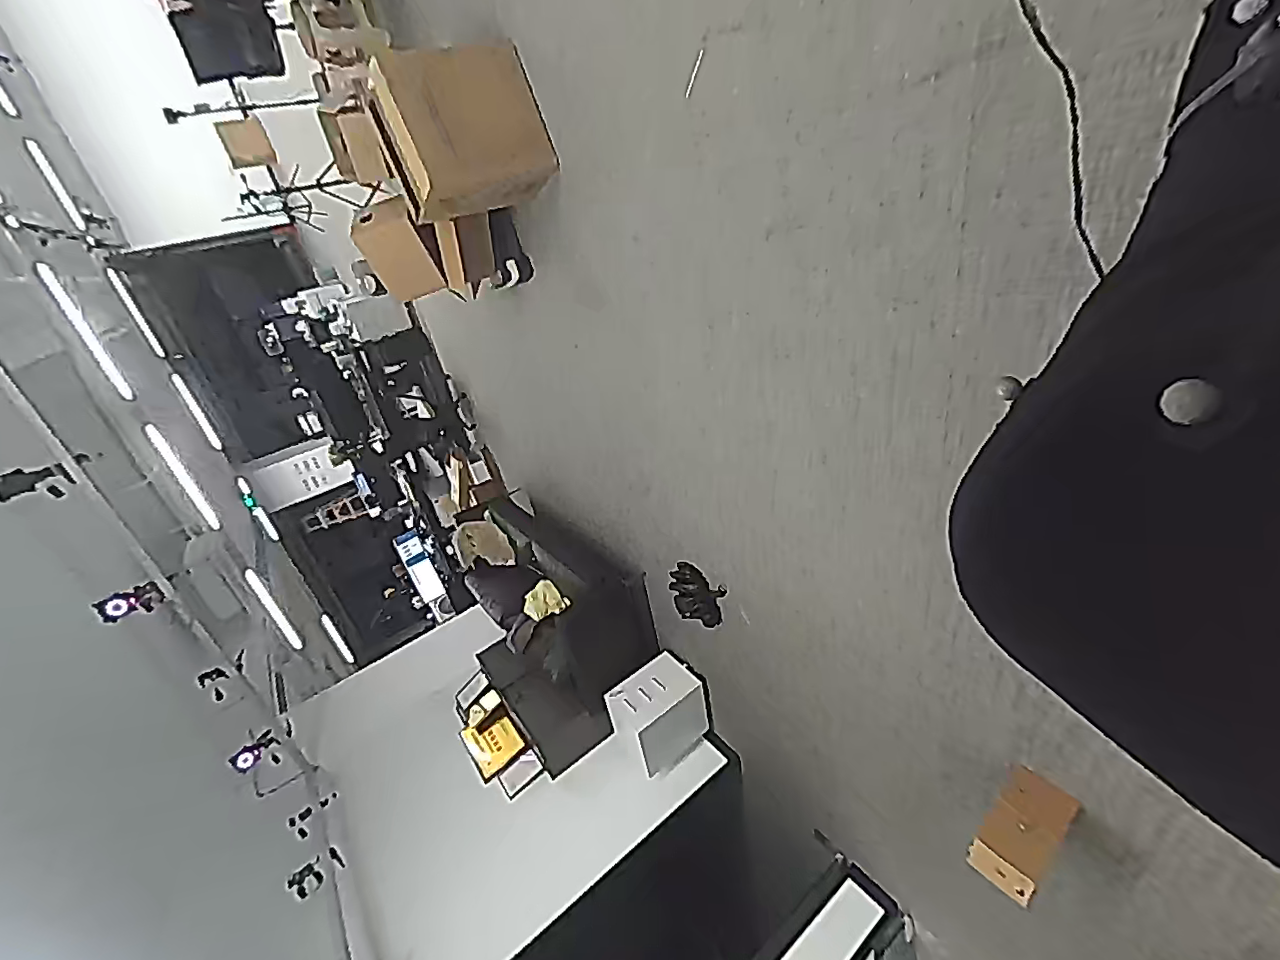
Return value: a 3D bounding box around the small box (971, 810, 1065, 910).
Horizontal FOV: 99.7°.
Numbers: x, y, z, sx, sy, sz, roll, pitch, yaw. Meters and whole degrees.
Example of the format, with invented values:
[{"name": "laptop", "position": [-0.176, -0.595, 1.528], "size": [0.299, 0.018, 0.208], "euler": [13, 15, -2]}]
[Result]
[{"name": "small box", "position": [1.196, 1.192, 1.714], "size": [0.179, 0.176, 0.168], "euler": [31, 140, 47]}]
